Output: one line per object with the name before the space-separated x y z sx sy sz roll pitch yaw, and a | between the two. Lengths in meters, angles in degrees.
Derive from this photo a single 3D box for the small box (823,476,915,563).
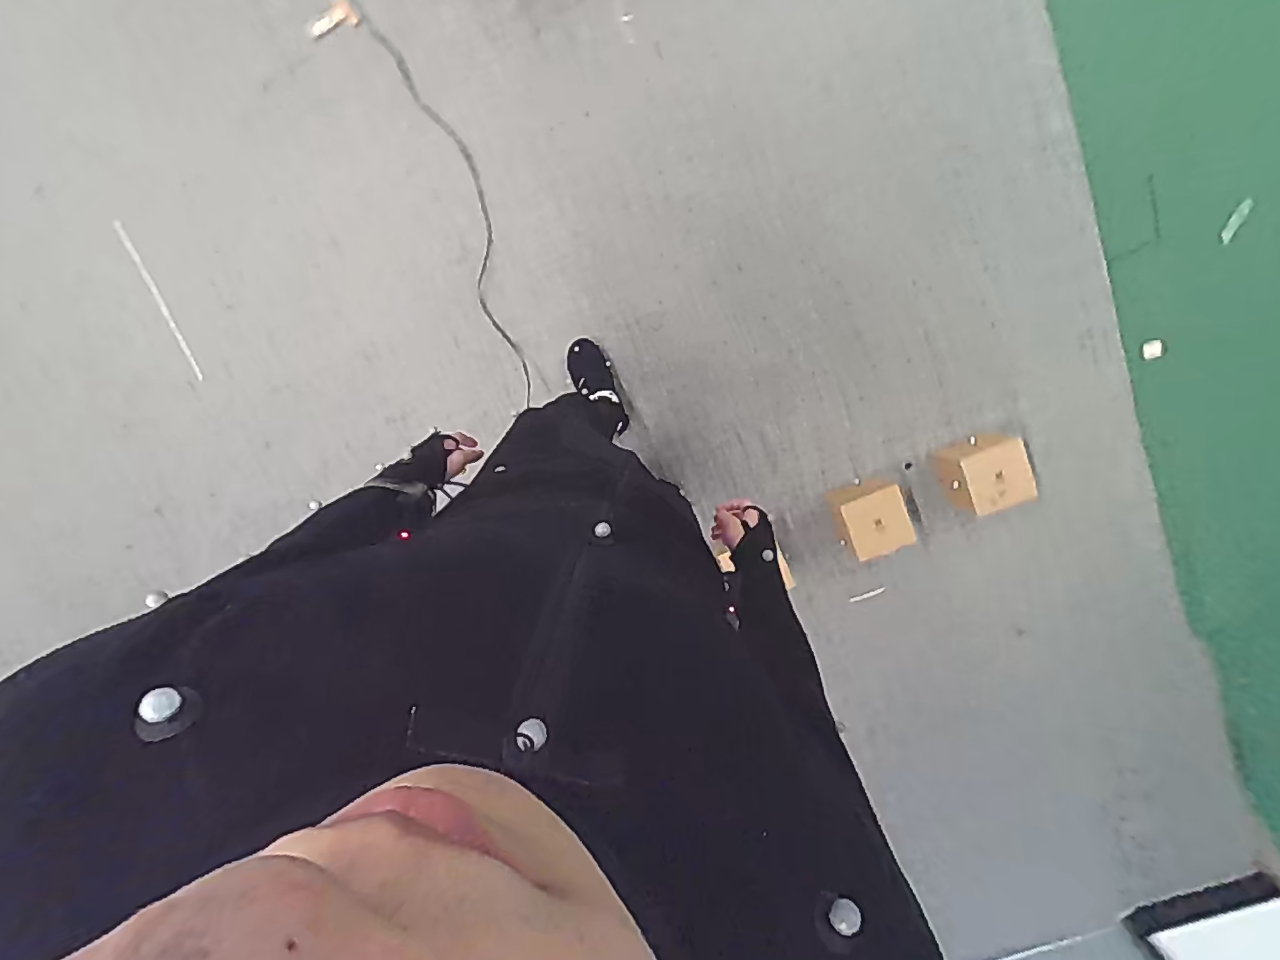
small box | 0.644 0.107 1.534 0.168 0.176 0.179 -22 99 6

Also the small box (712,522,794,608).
small box | 0.321 0.238 1.572 0.168 0.176 0.179 -25 100 6

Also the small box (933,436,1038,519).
small box | 0.946 -0.015 1.496 0.168 0.176 0.179 -22 100 7
